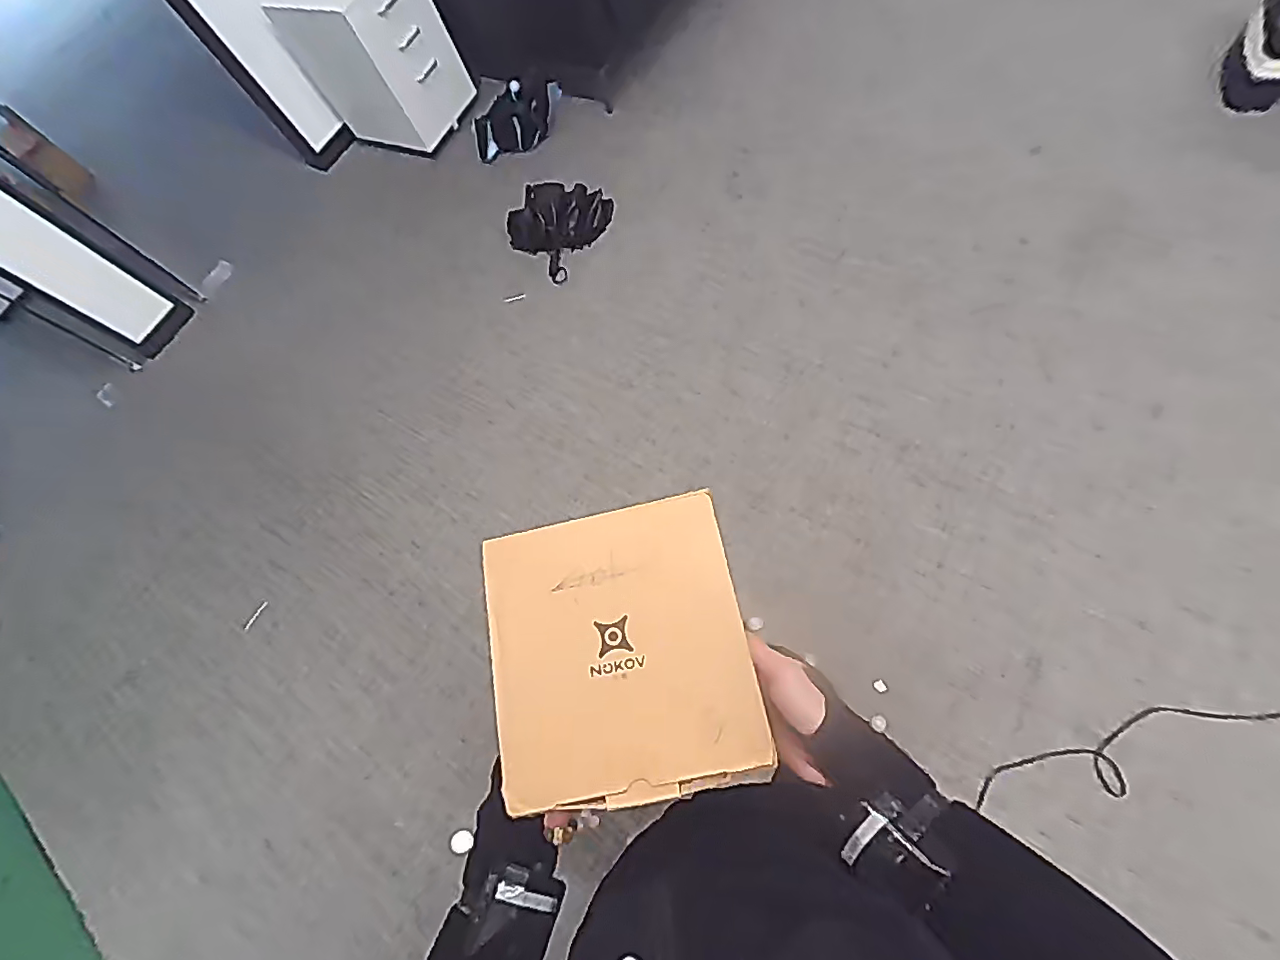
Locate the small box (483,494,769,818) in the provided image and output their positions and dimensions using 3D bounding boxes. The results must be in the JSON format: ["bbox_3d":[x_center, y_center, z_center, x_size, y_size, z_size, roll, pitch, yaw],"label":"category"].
[{"bbox_3d":[-0.005,0.133,0.422,0.168,0.176,0.179,-14,68,4],"label":"small box"}]
